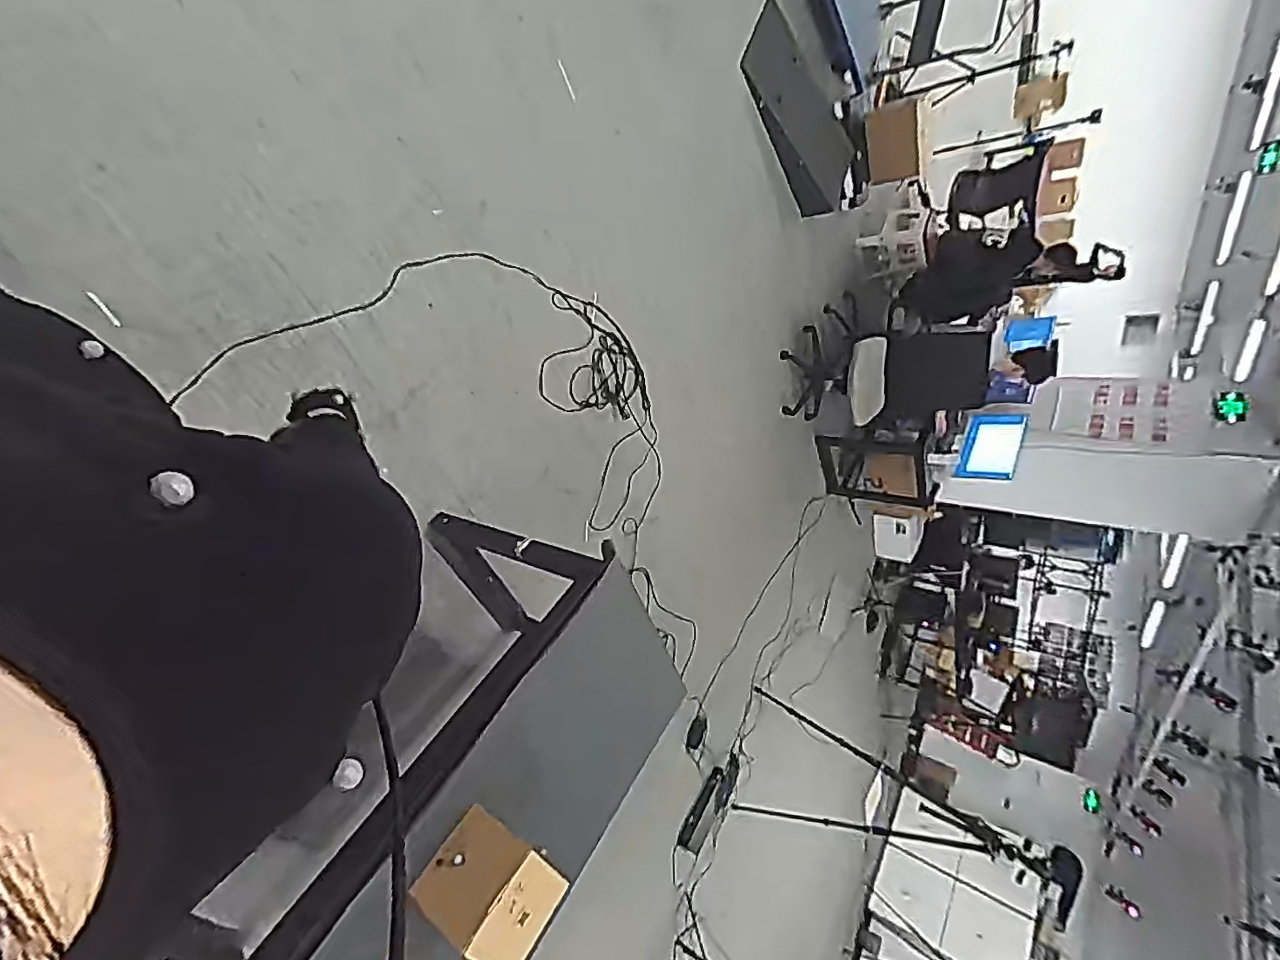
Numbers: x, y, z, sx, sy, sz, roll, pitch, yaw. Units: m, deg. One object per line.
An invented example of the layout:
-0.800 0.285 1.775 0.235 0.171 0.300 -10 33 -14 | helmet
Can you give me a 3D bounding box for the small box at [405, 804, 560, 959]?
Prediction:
-0.282 0.732 0.981 0.168 0.176 0.179 -49 133 -34 | small box
